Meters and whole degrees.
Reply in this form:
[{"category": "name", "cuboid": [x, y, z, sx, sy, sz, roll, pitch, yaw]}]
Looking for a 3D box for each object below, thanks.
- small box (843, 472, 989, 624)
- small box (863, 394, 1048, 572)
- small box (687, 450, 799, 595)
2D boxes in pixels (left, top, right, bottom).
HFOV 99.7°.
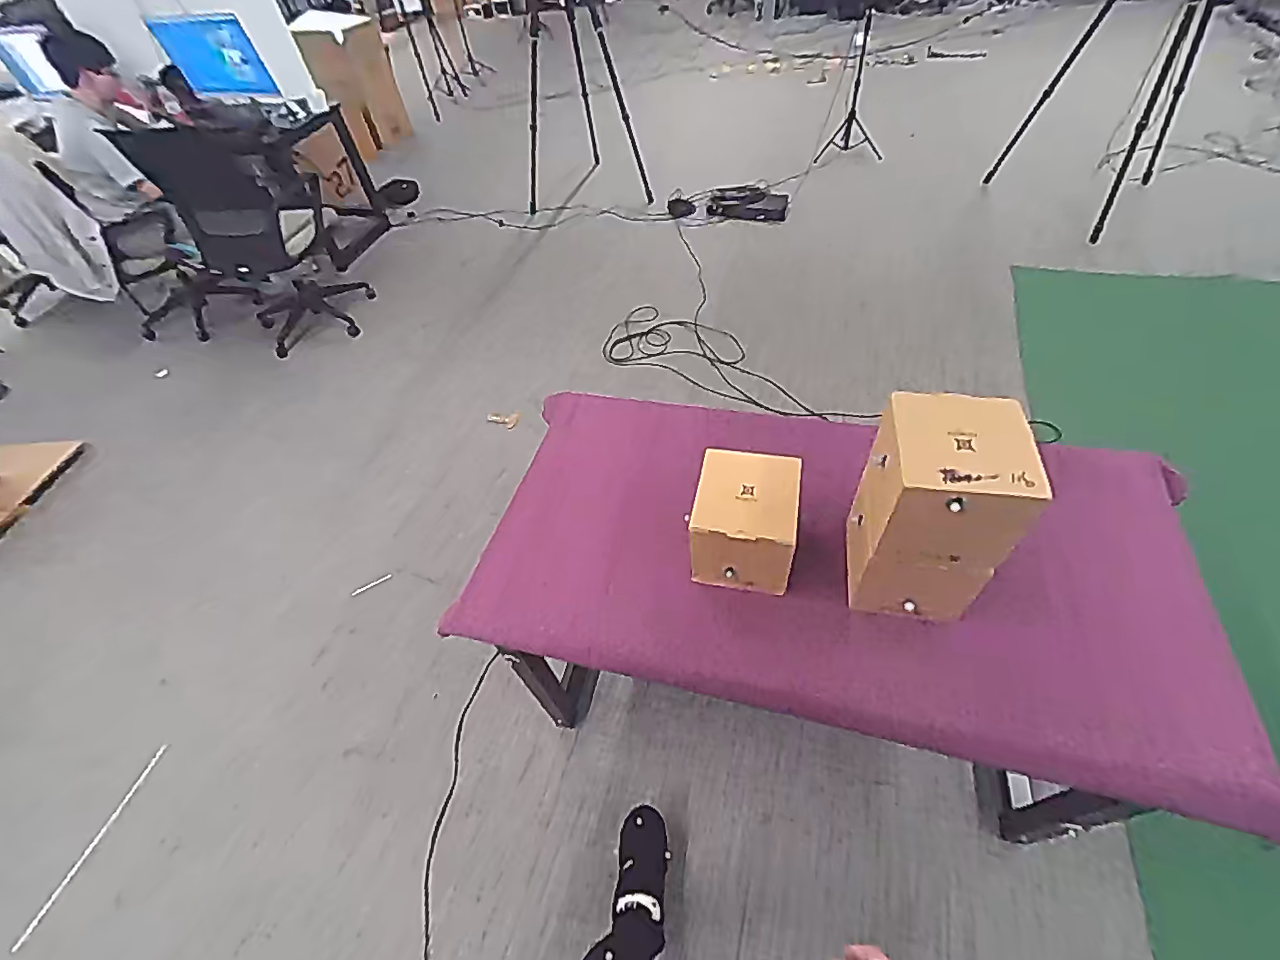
[{"category": "small box", "cuboid": [0.433, 0.109, 0.881, 0.168, 0.176, 0.179, 6, 52, 12]}, {"category": "small box", "cuboid": [0.419, 0.003, 0.756, 0.168, 0.176, 0.179, 5, 50, 11]}, {"category": "small box", "cuboid": [0.177, 0.075, 0.942, 0.168, 0.176, 0.179, 7, 52, 12]}]
